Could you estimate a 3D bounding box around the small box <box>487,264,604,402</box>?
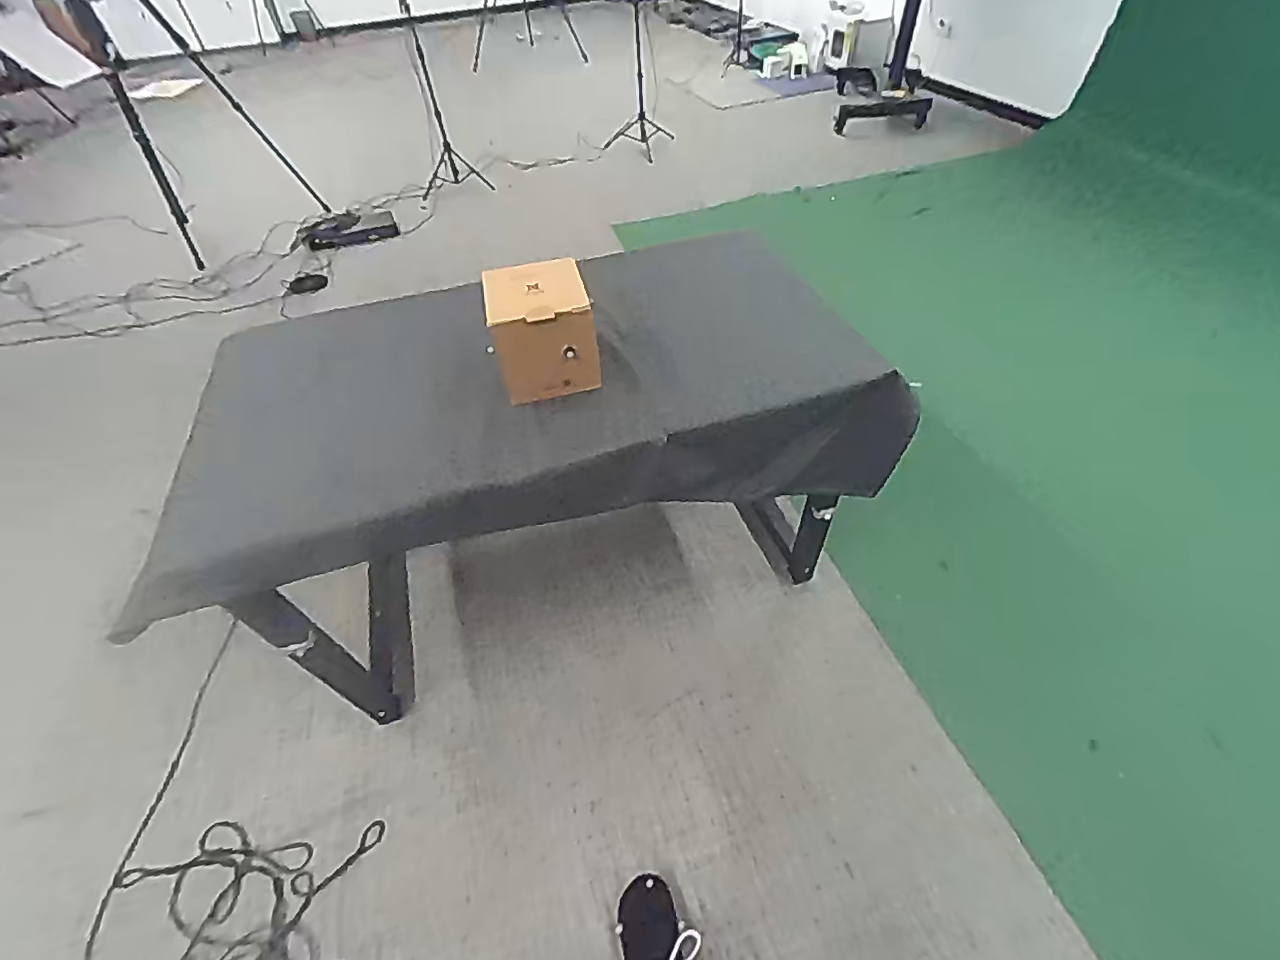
[{"bbox_3d":[-0.165,-0.254,0.961,0.168,0.176,0.179,-12,48,-8],"label":"small box"}]
